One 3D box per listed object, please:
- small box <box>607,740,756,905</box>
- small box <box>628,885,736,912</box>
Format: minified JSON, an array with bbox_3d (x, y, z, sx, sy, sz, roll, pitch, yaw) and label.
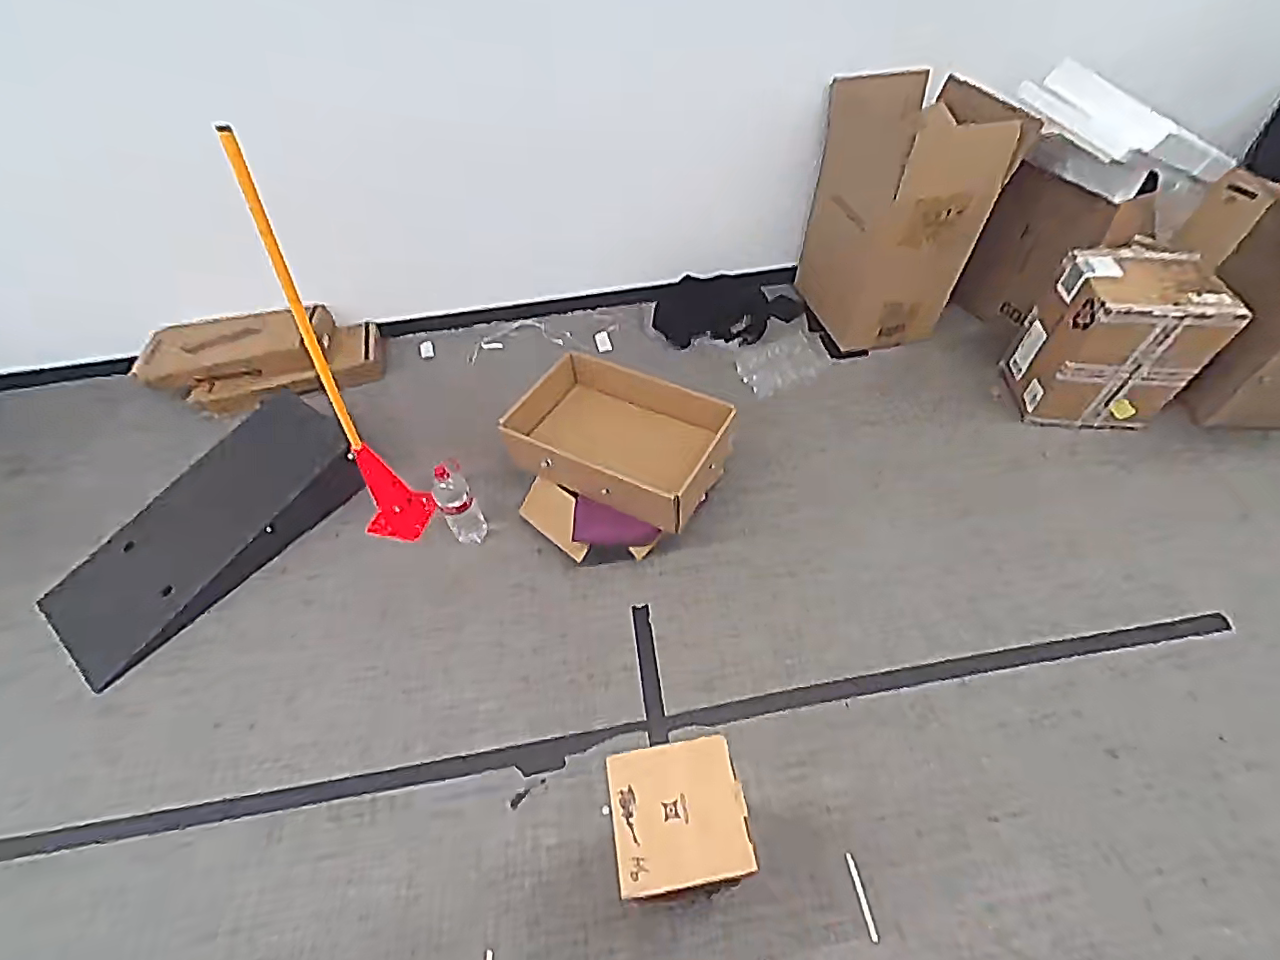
[{"bbox_3d":[0.050,0.494,0.779,0.179,0.176,0.168,-7,50,-5],"label":"small box"},{"bbox_3d":[0.056,0.600,0.905,0.168,0.176,0.179,-8,50,-4],"label":"small box"}]
